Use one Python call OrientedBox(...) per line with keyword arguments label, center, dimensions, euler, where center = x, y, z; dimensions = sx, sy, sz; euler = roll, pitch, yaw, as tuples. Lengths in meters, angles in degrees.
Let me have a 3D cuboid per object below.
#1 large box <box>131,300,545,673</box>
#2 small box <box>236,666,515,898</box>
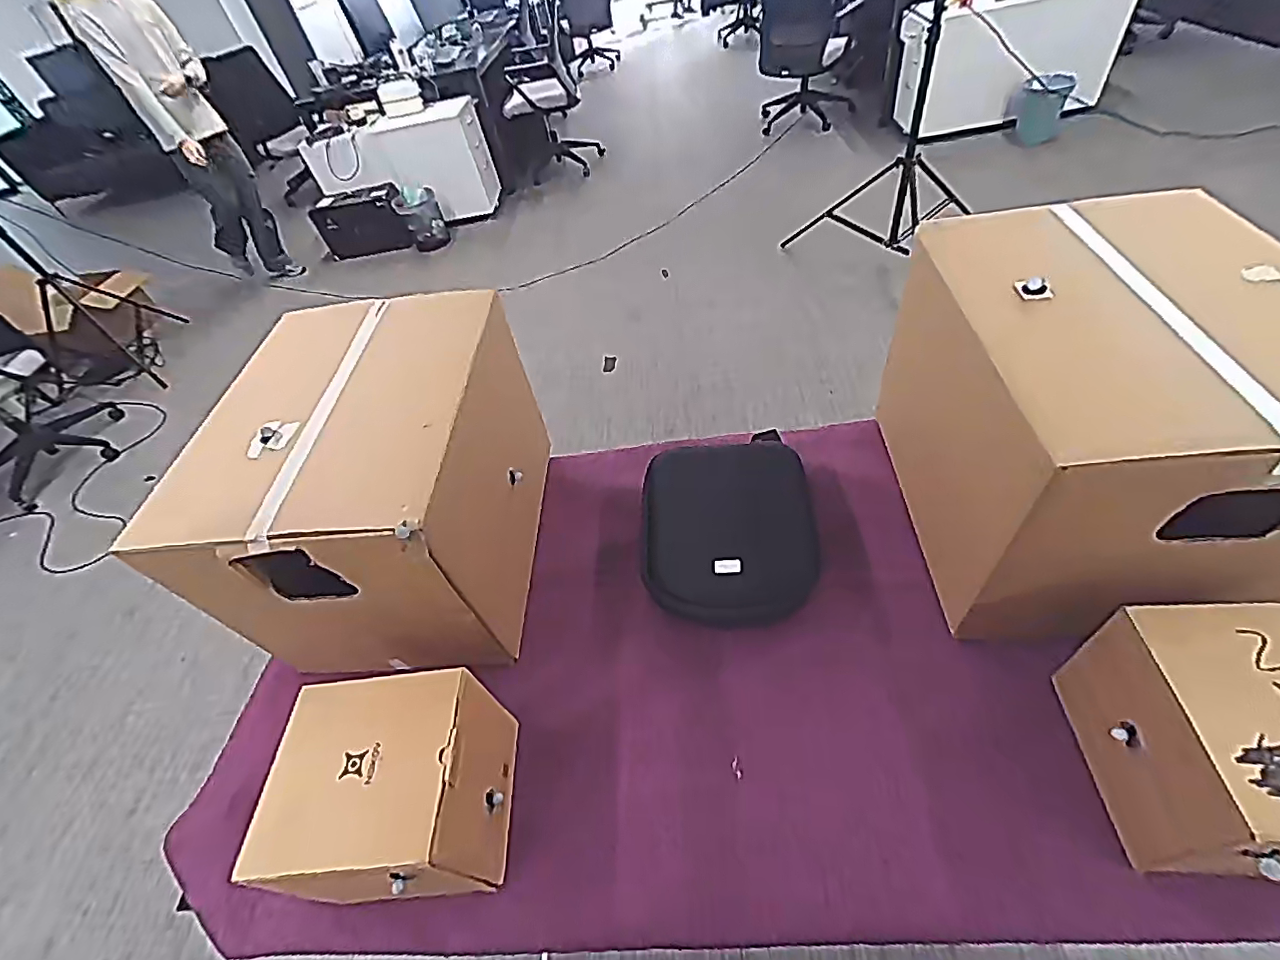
OrientedBox(label="large box", center=(-0.329, 0.010, 0.746), dimensions=(0.320, 0.320, 0.408), euler=(-6, 51, 6))
OrientedBox(label="small box", center=(-0.246, 0.314, 0.556), dimensions=(0.179, 0.176, 0.168), euler=(-8, 47, 4))
